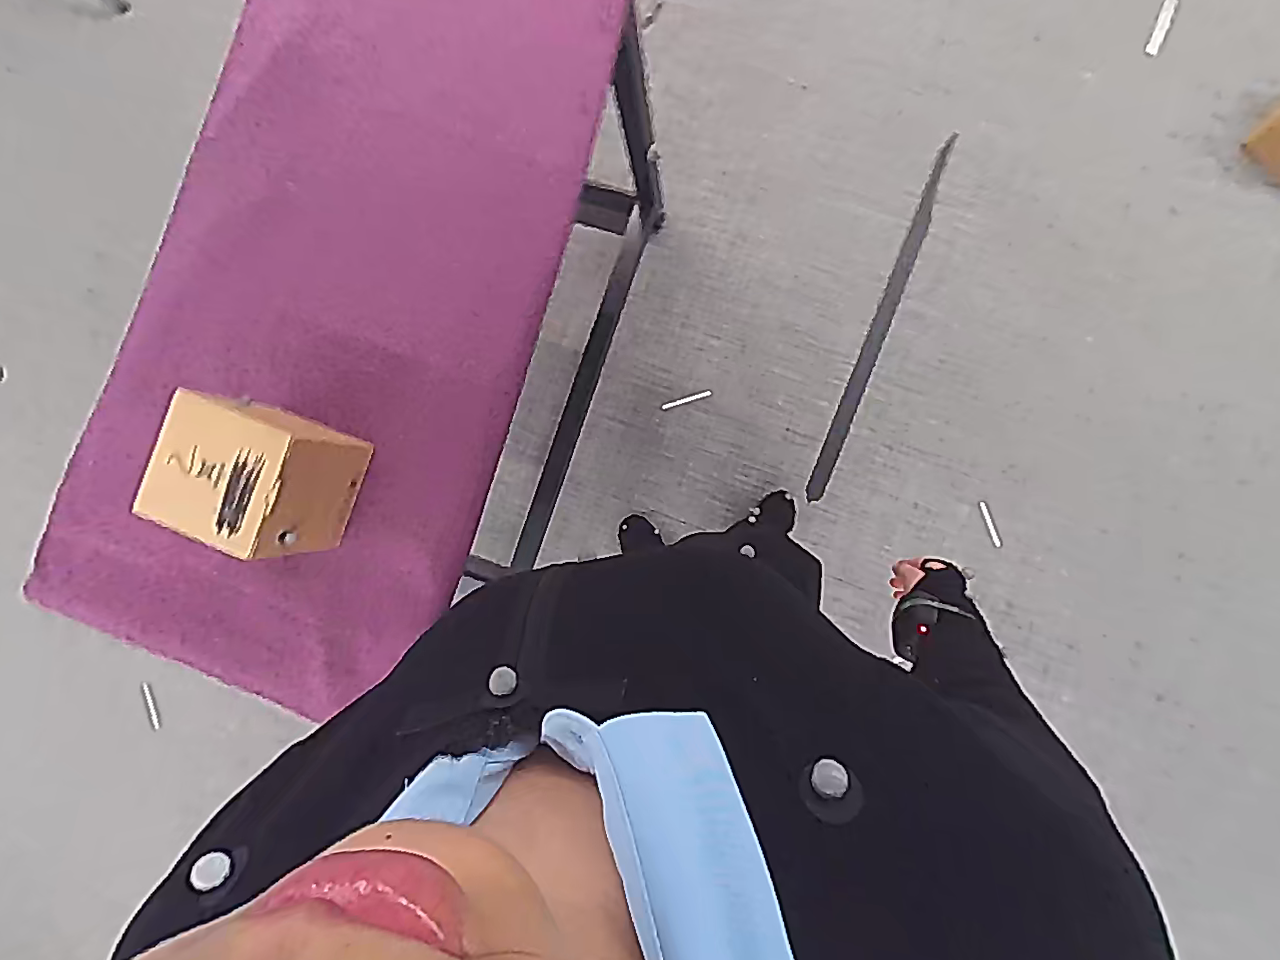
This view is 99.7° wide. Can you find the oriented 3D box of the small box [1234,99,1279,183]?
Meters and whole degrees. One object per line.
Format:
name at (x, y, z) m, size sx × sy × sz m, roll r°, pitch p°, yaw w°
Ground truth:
small box at (1.616, -0.856, 1.291) m, size 0.168 × 0.176 × 0.179 m, roll -45°, pitch 85°, yaw 3°
